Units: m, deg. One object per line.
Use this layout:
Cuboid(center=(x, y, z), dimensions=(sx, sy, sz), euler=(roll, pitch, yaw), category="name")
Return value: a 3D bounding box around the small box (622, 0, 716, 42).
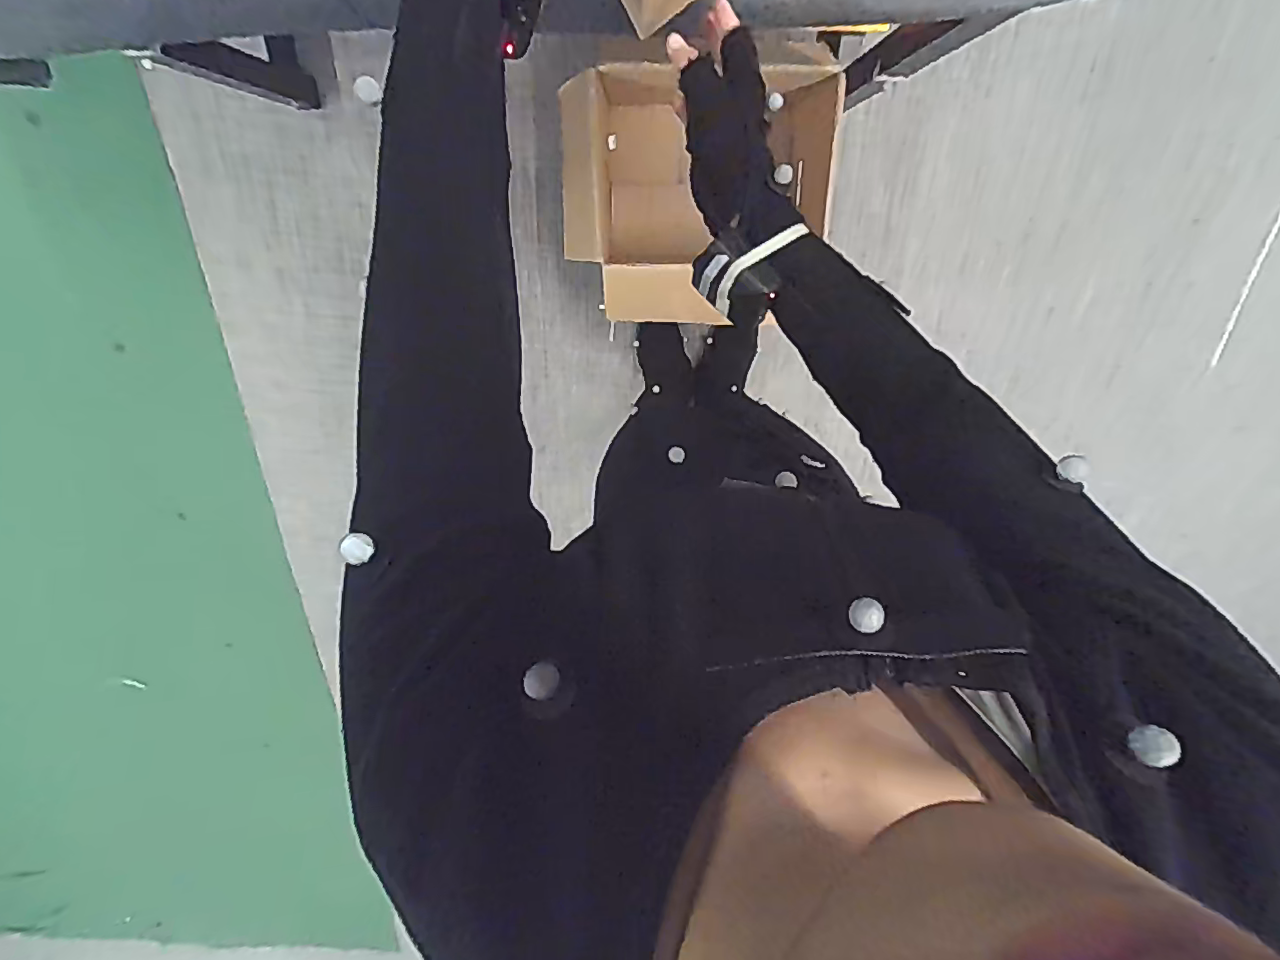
Cuboid(center=(0.039, -0.488, 0.405), dimensions=(0.179, 0.176, 0.168), euler=(-28, 111, 14), category="small box")
